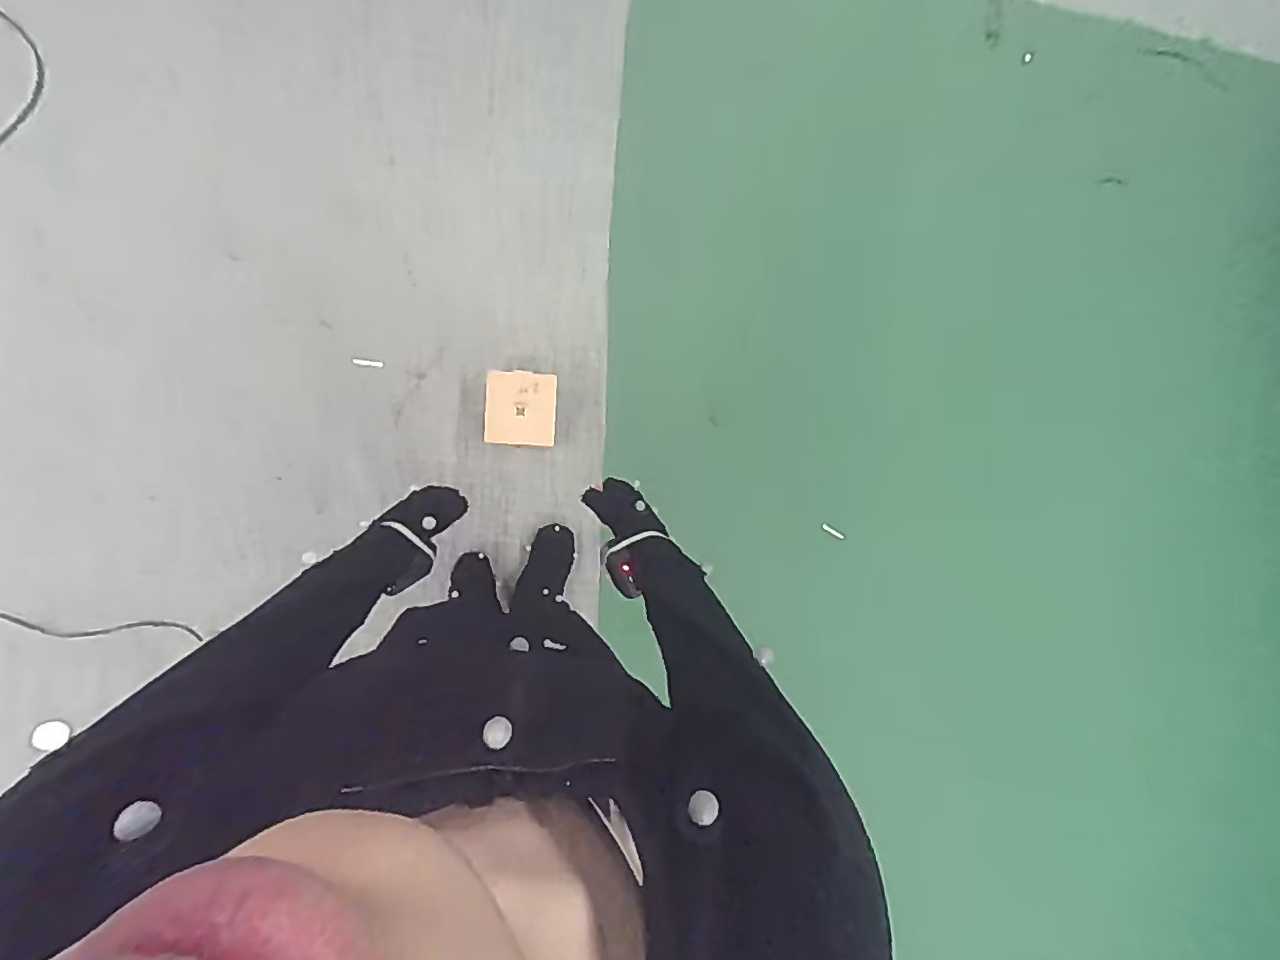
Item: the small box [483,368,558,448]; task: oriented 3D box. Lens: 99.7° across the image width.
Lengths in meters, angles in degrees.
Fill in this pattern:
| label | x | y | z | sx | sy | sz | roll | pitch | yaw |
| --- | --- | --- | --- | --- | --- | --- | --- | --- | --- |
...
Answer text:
| label | x | y | z | sx | sy | sz | roll | pitch | yaw |
| --- | --- | --- | --- | --- | --- | --- | --- | --- | --- |
| small box | -0.295 | -0.173 | 1.354 | 0.168 | 0.176 | 0.179 | 3 | 90 | -11 |
